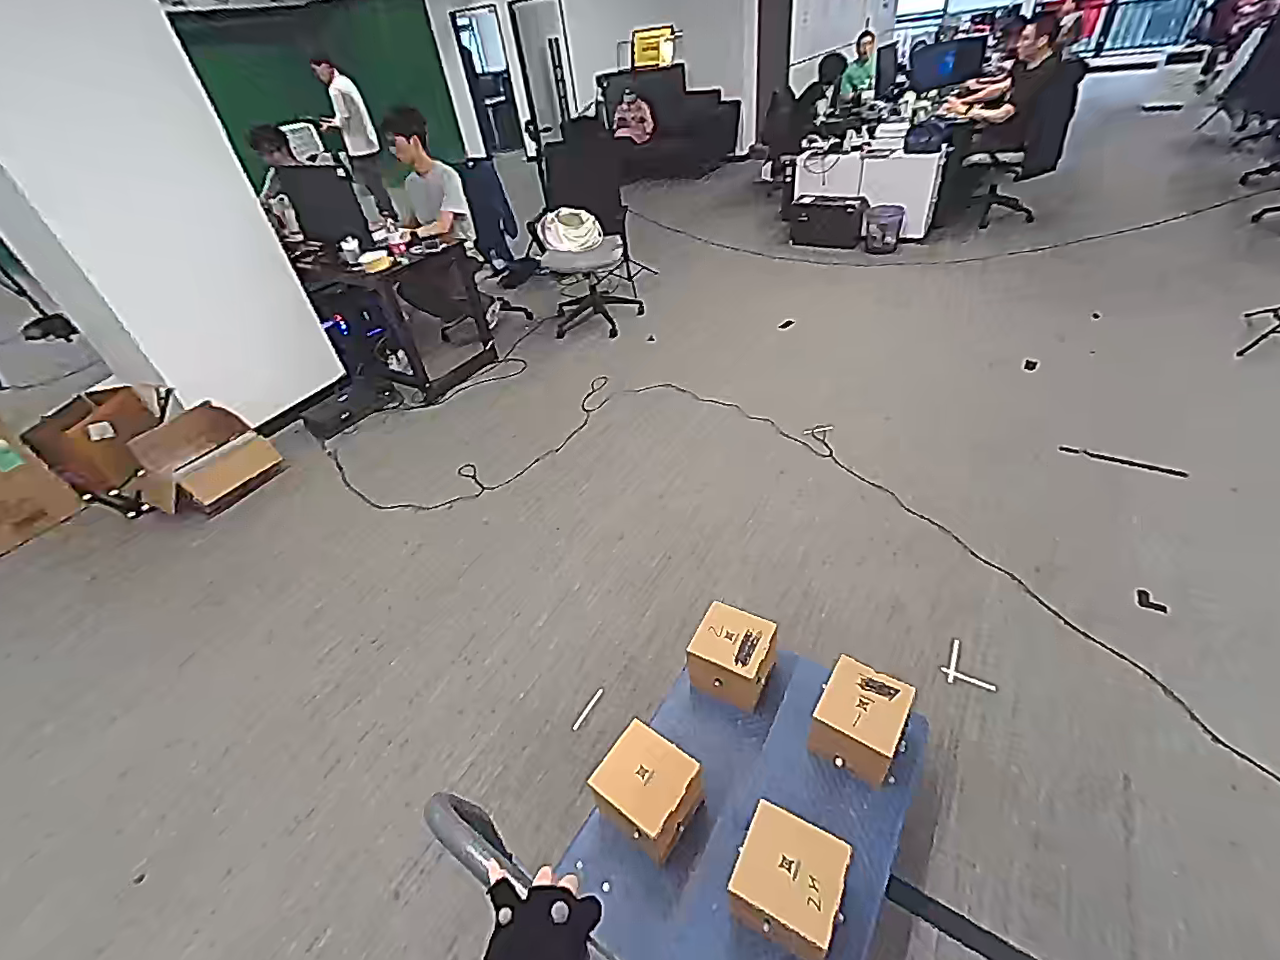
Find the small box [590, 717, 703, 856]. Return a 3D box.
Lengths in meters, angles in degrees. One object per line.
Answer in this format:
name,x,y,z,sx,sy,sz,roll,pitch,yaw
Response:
small box,0.019,0.656,1.155,0.179,0.176,0.168,24,49,30

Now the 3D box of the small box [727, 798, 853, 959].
small box,0.275,0.743,1.005,0.179,0.176,0.168,17,46,27

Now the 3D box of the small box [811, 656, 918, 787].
small box,0.495,0.539,1.210,0.168,0.176,0.179,21,49,31
